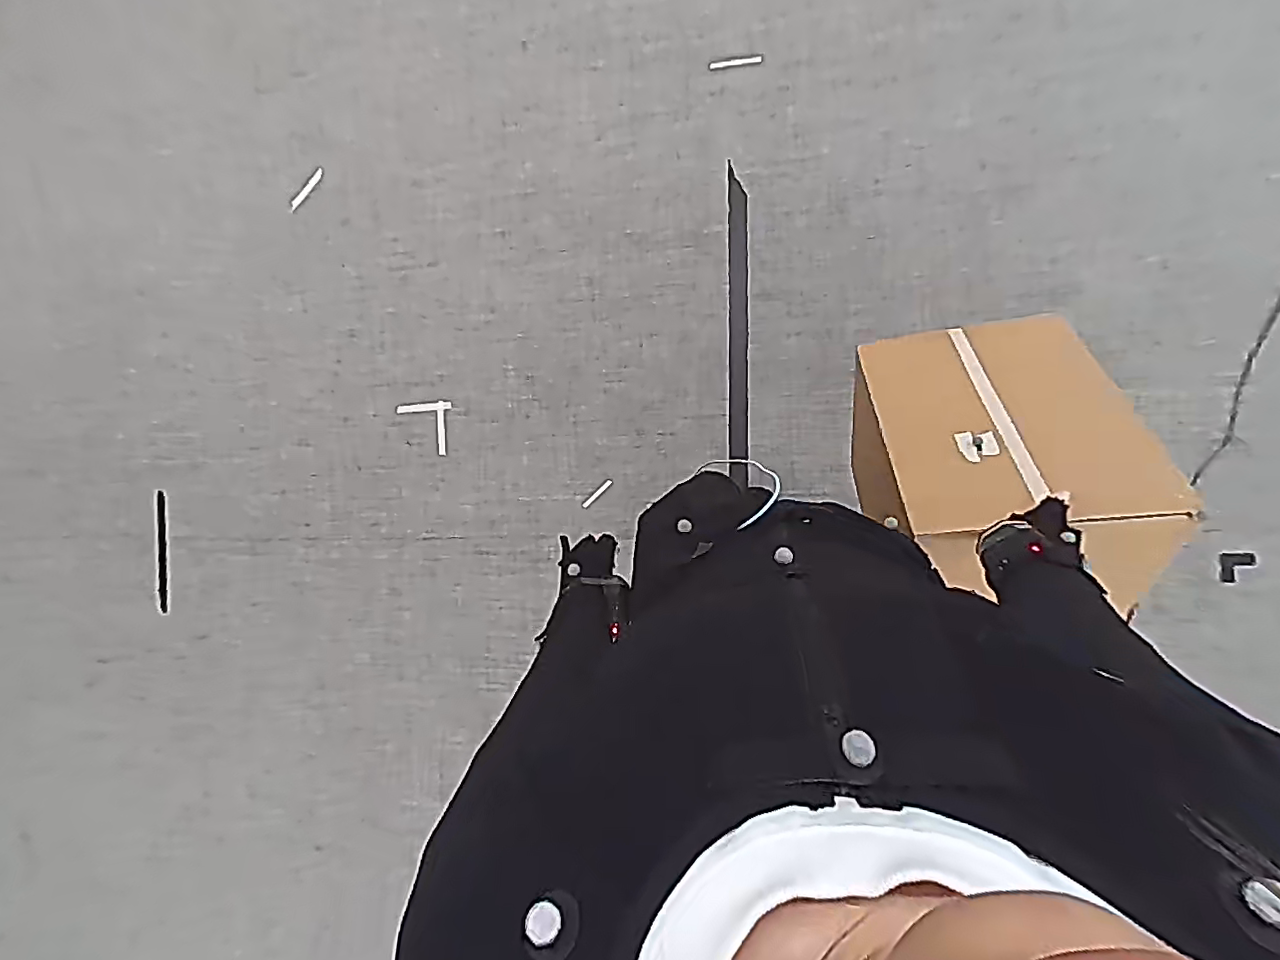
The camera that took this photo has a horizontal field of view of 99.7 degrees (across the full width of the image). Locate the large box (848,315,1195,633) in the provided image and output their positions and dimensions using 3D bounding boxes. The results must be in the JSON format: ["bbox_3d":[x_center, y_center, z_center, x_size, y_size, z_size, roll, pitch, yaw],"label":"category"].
[{"bbox_3d":[0.540,-0.003,0.888,0.320,0.320,0.408,-7,50,15],"label":"large box"}]
